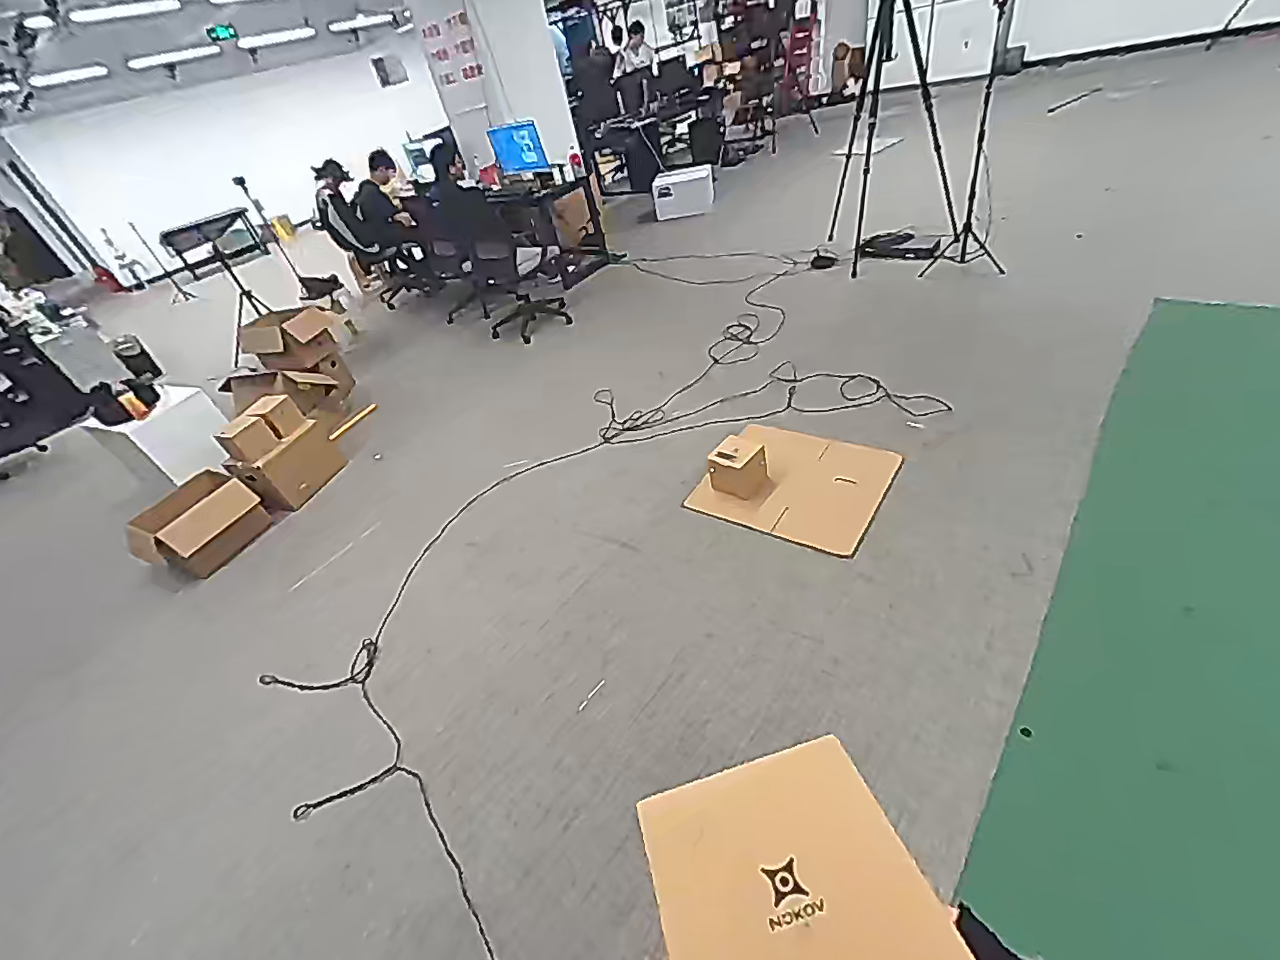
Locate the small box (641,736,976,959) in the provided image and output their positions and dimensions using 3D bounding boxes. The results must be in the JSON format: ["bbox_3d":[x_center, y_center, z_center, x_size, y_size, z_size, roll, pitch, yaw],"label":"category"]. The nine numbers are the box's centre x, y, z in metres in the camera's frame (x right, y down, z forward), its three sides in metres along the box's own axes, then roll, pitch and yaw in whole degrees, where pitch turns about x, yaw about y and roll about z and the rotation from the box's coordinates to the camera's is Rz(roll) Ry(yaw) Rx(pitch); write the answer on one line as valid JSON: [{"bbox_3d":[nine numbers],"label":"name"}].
[{"bbox_3d":[0.108,0.327,0.380,0.168,0.176,0.179,-16,29,-6],"label":"small box"}]
